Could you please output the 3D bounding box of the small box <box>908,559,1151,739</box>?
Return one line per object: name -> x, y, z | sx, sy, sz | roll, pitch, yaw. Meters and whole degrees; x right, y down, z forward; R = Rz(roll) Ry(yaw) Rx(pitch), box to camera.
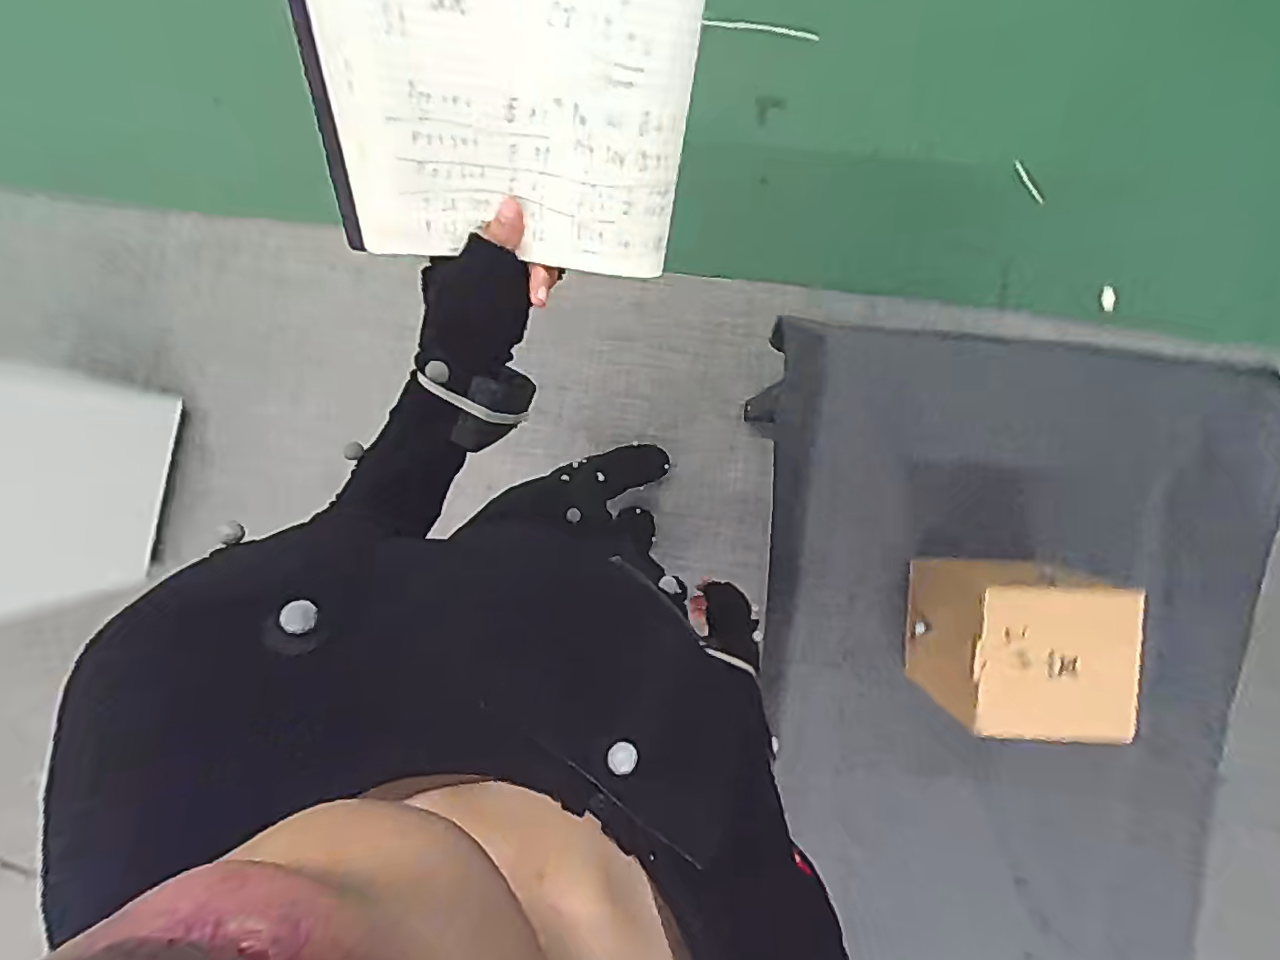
small box -> 0.463, 0.195, 0.667 | 0.179, 0.176, 0.168 | 2, 92, 0
